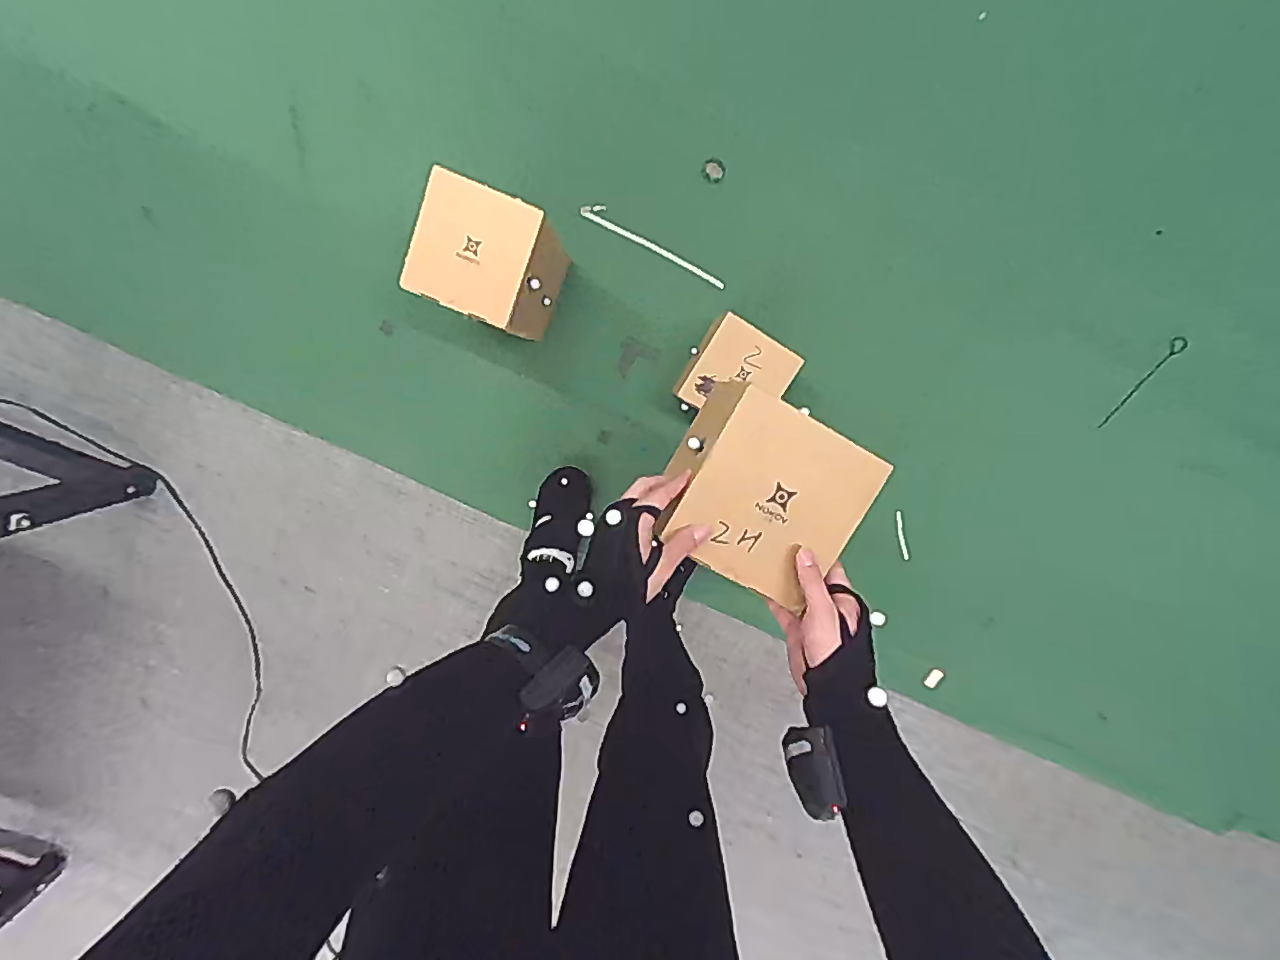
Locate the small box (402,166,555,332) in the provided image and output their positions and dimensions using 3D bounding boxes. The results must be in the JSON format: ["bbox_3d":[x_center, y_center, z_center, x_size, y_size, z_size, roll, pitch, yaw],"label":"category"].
[{"bbox_3d":[-0.241,-0.348,0.850,0.168,0.176,0.179,21,103,-5],"label":"small box"}]

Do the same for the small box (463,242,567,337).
[{"bbox_3d":[-0.247,-0.378,1.010,0.168,0.176,0.179,23,101,-5],"label":"small box"}]

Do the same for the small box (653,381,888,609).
[{"bbox_3d":[0.125,0.003,0.602,0.168,0.176,0.179,30,98,-8],"label":"small box"}]
